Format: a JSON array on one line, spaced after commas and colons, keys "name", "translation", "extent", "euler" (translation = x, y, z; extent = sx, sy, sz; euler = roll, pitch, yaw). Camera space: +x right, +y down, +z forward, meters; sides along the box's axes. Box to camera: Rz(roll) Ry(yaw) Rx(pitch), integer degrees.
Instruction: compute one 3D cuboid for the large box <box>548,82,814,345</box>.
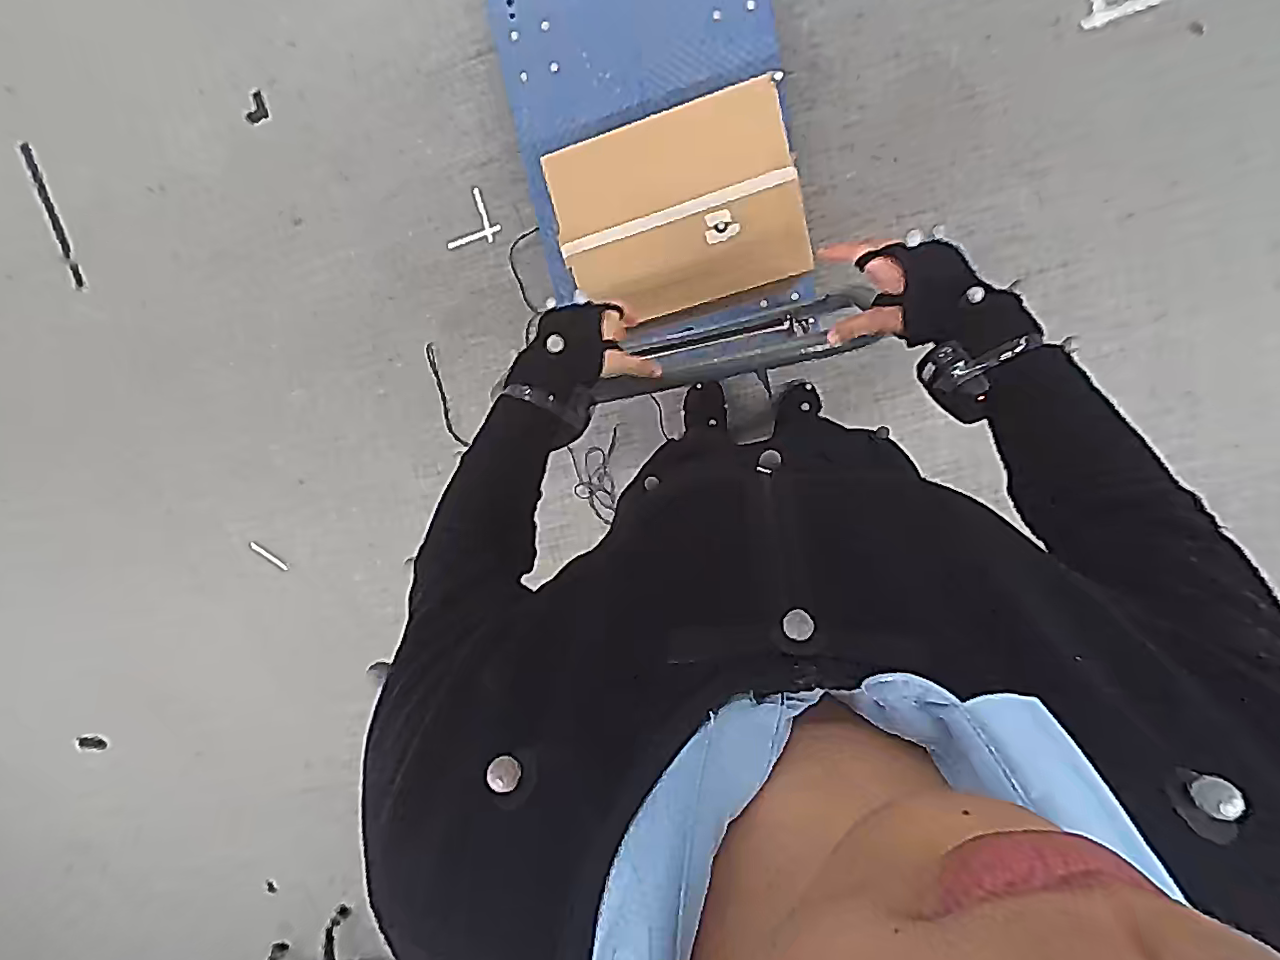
[{"name": "large box", "translation": [0.083, -0.481, 1.075], "extent": [0.408, 0.320, 0.320], "euler": [-14, 101, 9]}]
